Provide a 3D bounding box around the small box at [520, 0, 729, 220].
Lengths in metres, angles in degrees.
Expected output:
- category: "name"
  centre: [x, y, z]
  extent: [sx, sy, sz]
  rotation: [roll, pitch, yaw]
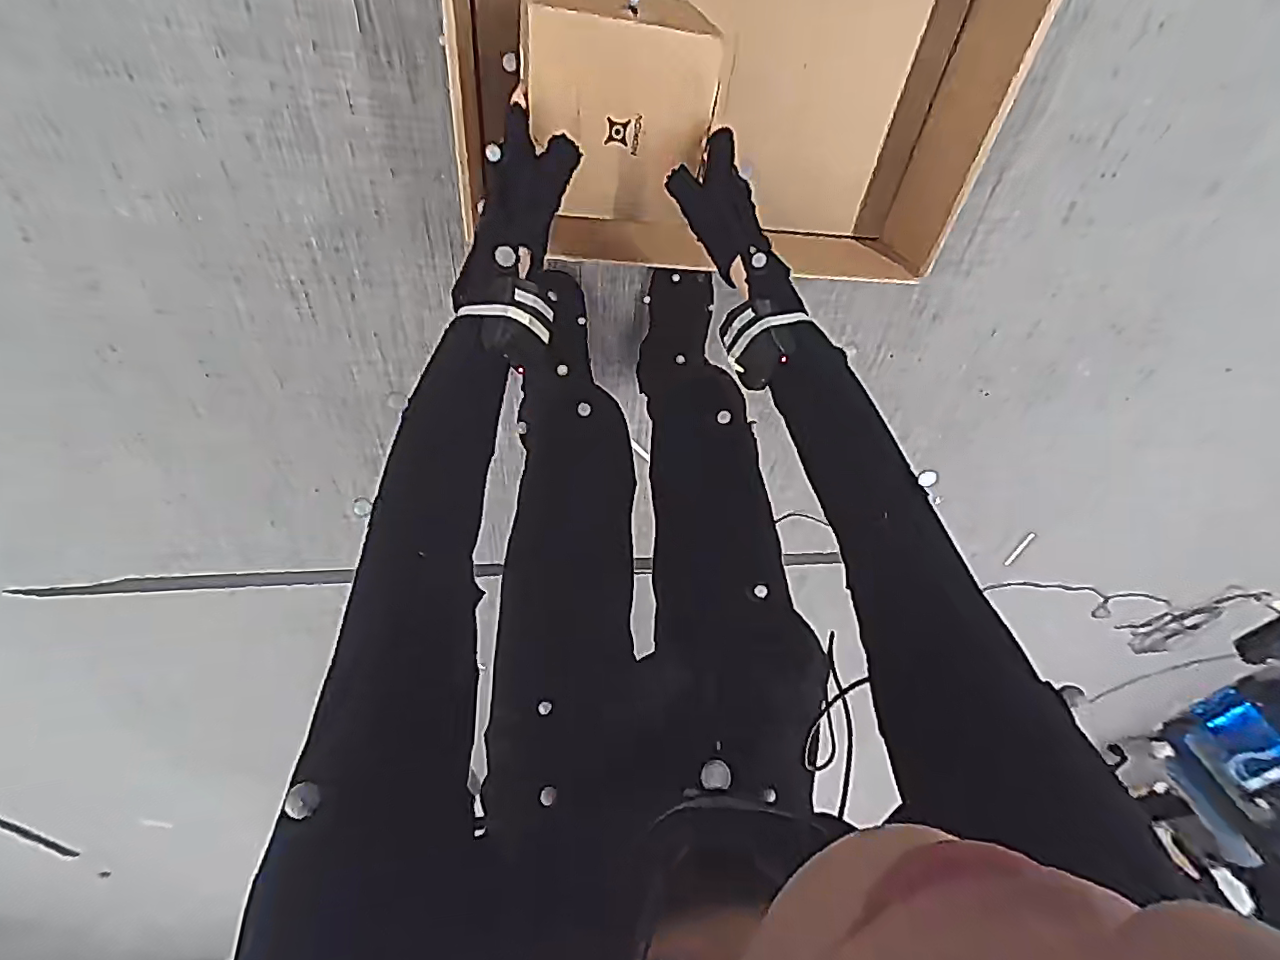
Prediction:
- category: "small box"
  centre: [-0.032, -0.395, 0.563]
  extent: [0.179, 0.176, 0.168]
  rotation: [-2, 139, -13]
